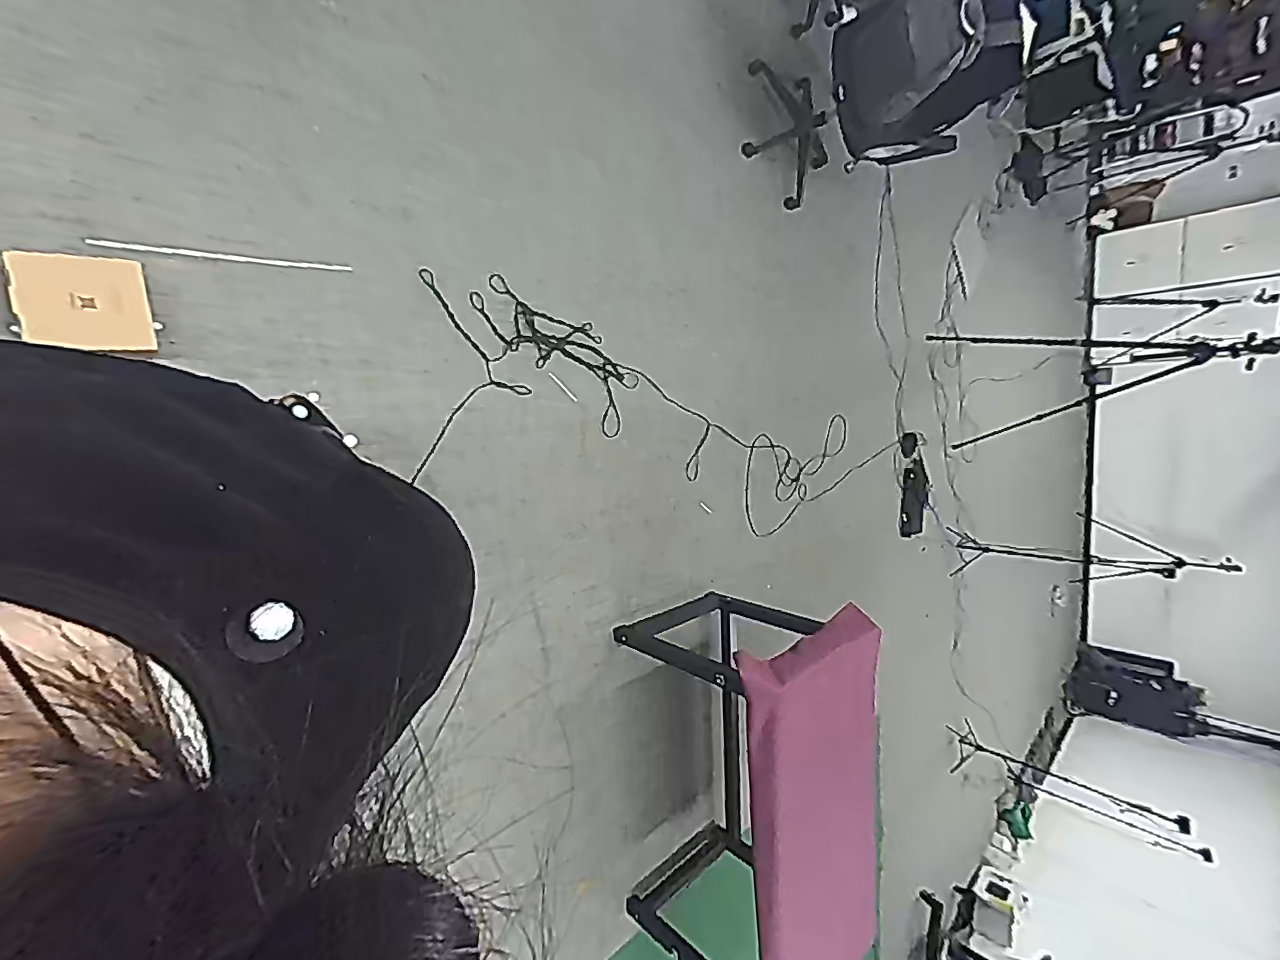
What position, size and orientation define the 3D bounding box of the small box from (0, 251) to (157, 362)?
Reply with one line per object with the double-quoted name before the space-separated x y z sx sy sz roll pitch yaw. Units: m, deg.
"small box" -1.037 -0.315 1.016 0.179 0.176 0.168 -12 101 -41
